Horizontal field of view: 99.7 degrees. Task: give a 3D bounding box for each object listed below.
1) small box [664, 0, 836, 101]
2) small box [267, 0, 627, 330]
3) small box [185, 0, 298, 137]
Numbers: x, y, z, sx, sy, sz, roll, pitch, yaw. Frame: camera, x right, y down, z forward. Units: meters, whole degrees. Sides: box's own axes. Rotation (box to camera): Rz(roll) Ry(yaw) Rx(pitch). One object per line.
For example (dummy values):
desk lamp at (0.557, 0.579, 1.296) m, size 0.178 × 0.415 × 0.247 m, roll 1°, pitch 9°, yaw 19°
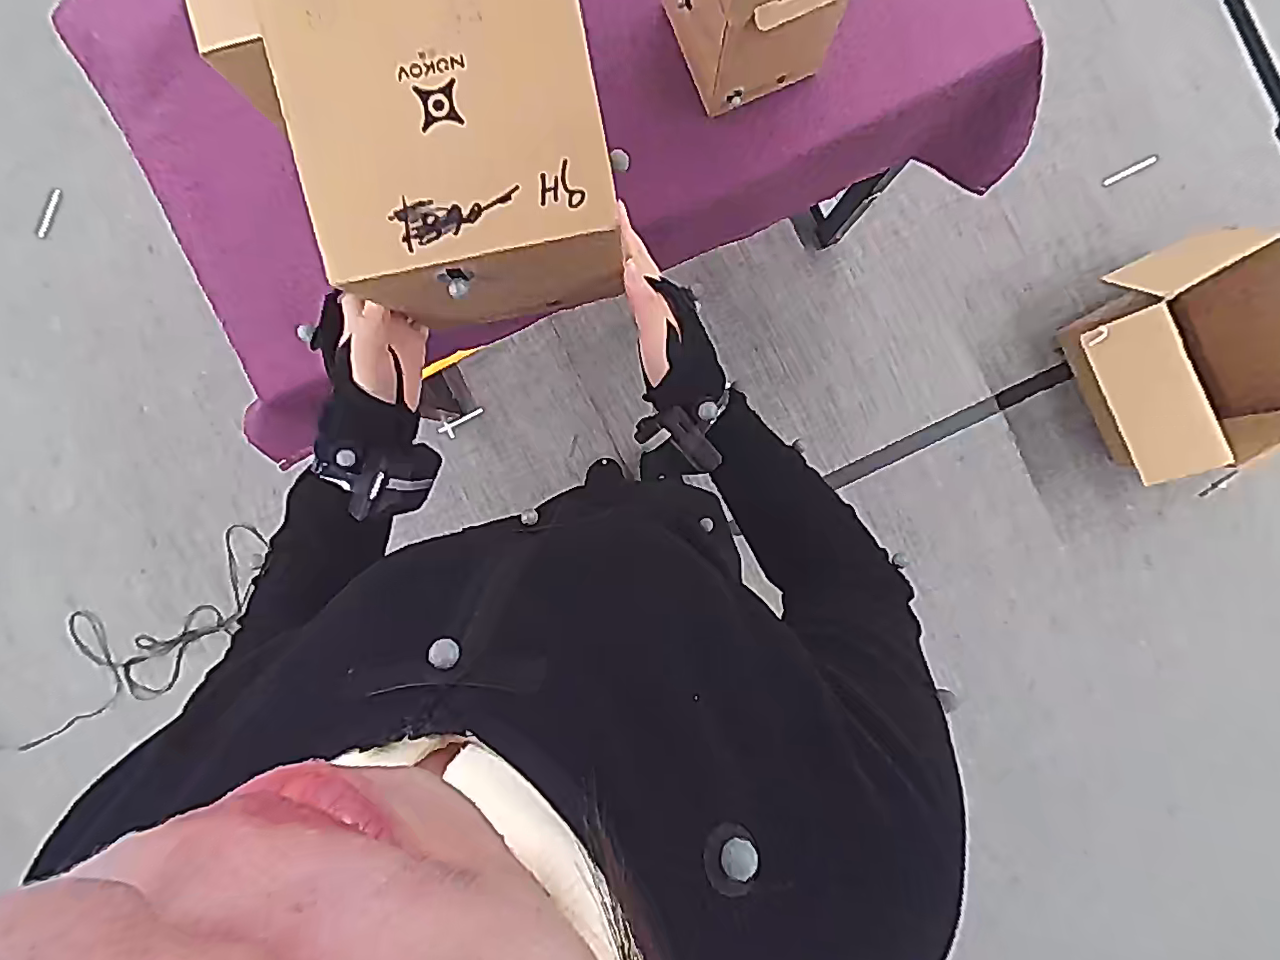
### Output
small box at (0.135, -0.616, 0.669) m, size 0.168 × 0.176 × 0.179 m, roll -23°, pitch 91°, yaw 1°
small box at (-0.104, -0.215, 0.365) m, size 0.168 × 0.176 × 0.179 m, roll -11°, pitch 96°, yaw 1°
small box at (-0.292, -0.445, 0.513) m, size 0.179 × 0.176 × 0.168 m, roll -14°, pitch 93°, yaw -1°
